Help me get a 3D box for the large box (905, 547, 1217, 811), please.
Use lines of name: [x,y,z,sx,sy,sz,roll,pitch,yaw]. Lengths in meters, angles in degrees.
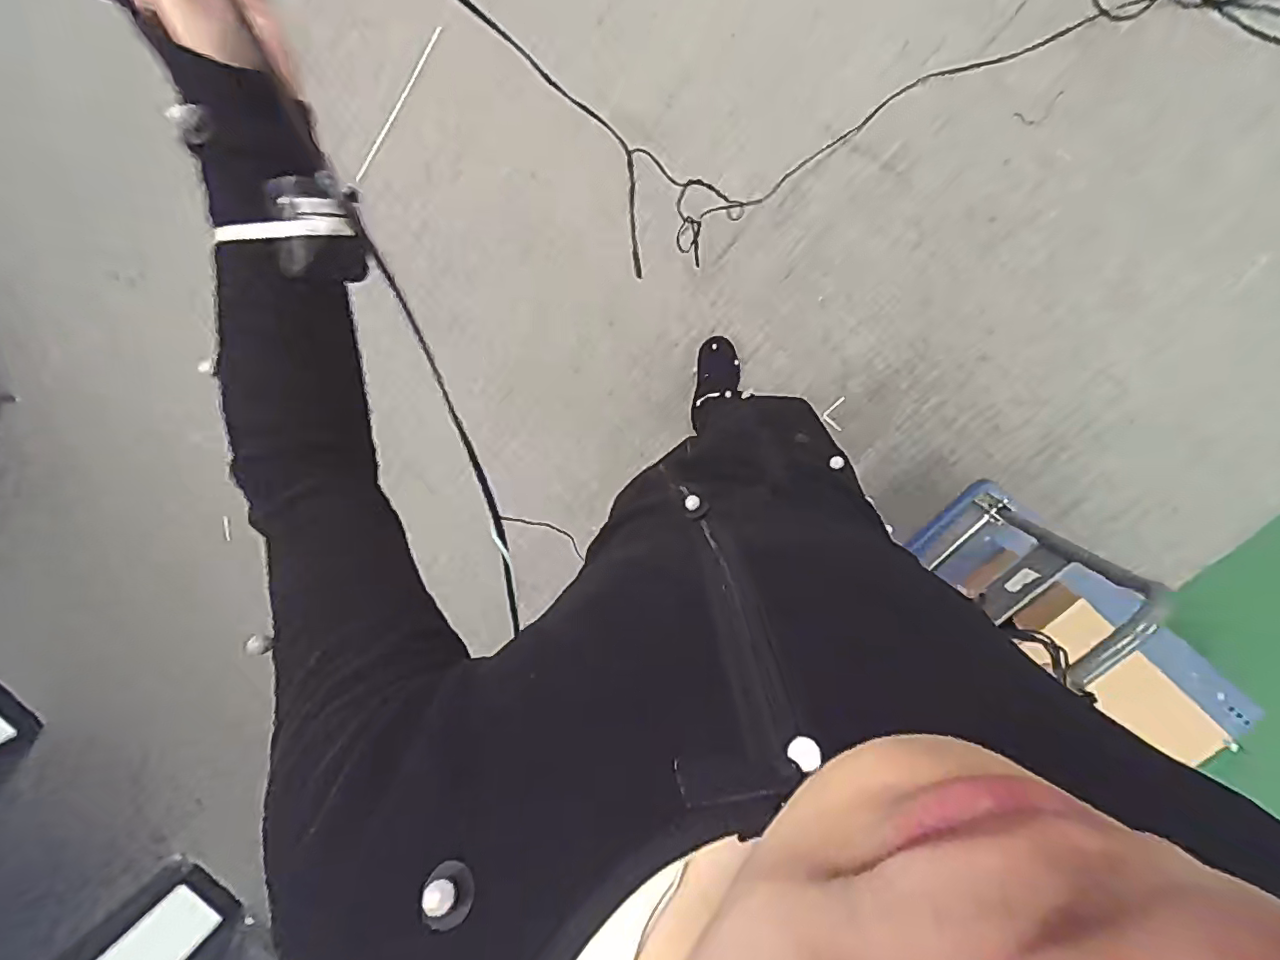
large box: [0.905,0.425,1.232,0.408,0.320,0.320,43,106,0]
